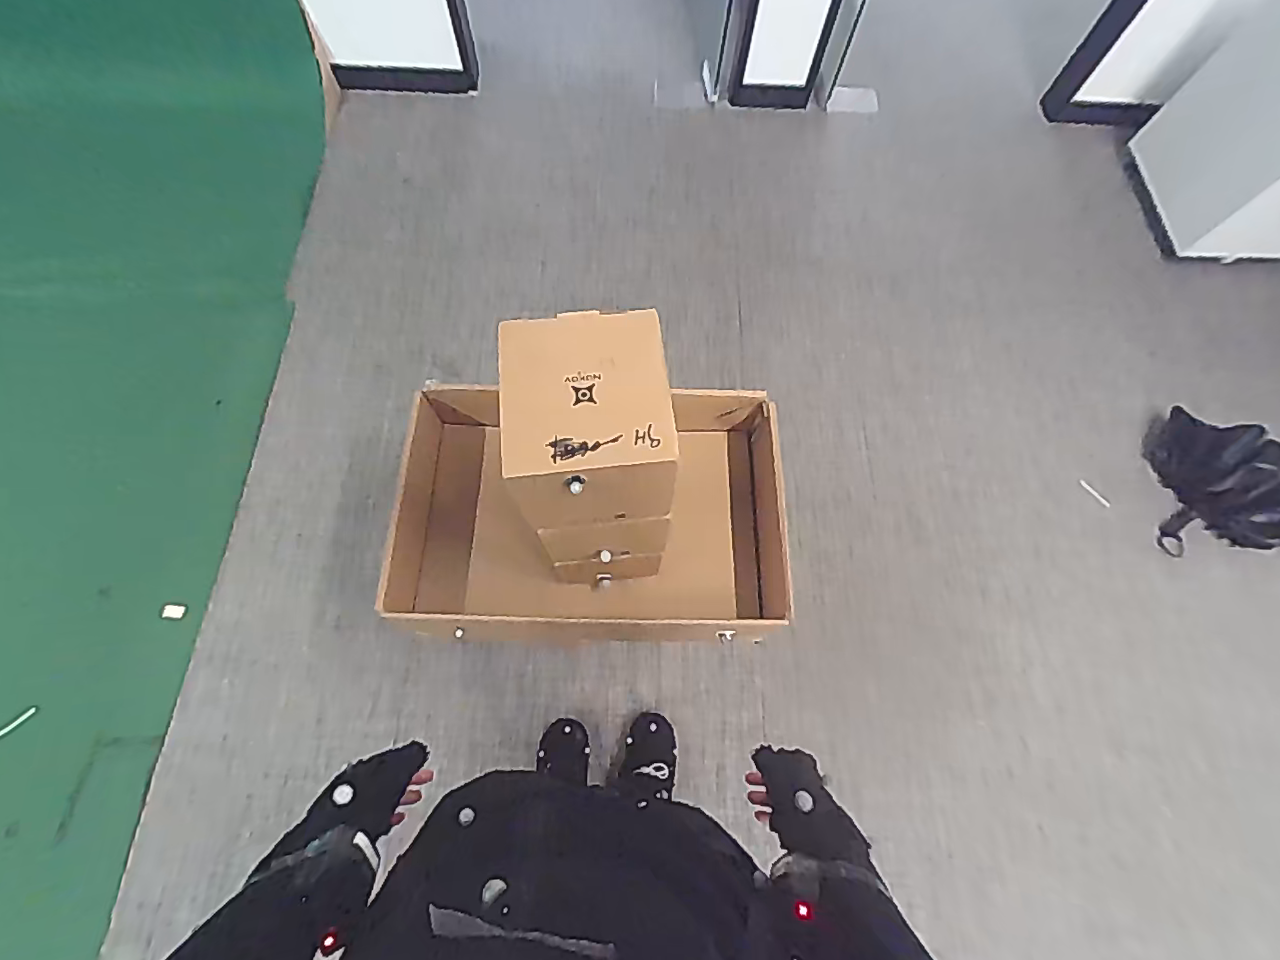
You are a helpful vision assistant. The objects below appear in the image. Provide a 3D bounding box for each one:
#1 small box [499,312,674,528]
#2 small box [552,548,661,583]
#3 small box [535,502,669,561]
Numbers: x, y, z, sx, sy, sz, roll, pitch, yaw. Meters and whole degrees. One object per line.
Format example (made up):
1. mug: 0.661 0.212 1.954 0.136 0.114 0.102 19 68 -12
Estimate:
1. small box: -0.057 -0.060 0.608 0.168 0.176 0.179 -6 67 -2
2. small box: -0.059 0.066 0.910 0.168 0.176 0.179 -6 69 -3
3. small box: -0.055 0.004 0.759 0.168 0.176 0.179 -6 69 -2
